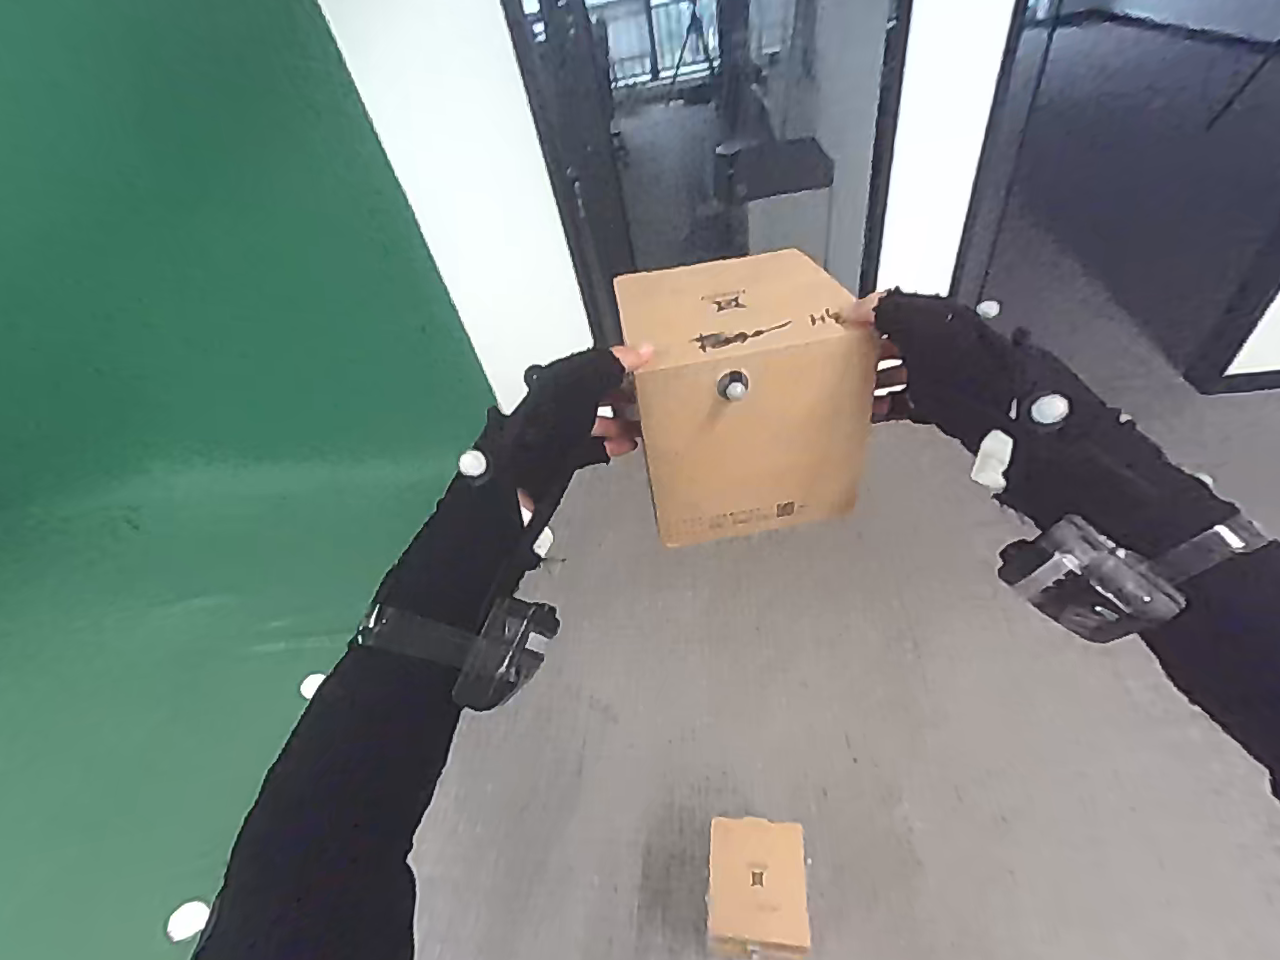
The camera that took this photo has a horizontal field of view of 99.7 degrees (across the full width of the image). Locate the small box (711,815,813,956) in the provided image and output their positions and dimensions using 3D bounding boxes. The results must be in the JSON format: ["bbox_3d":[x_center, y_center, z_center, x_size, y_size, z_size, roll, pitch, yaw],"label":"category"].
[{"bbox_3d":[0.221,0.743,0.994,0.168,0.176,0.179,-4,45,13],"label":"small box"}]

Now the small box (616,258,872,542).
[{"bbox_3d":[0.077,-0.073,0.472,0.168,0.176,0.179,-11,38,1],"label":"small box"}]

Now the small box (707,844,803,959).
[{"bbox_3d":[0.235,0.864,1.101,0.179,0.176,0.168,-3,44,13],"label":"small box"}]
